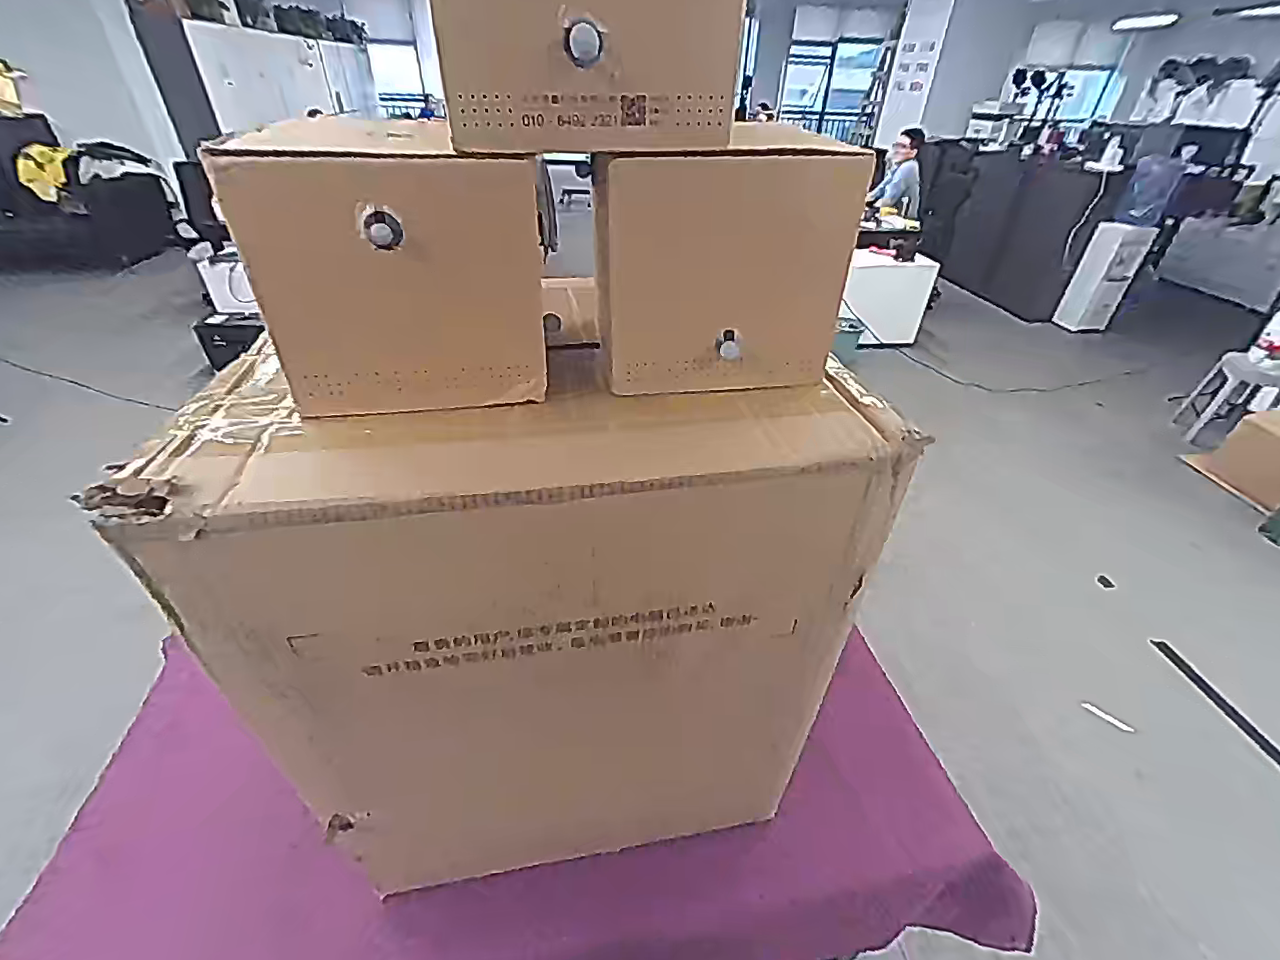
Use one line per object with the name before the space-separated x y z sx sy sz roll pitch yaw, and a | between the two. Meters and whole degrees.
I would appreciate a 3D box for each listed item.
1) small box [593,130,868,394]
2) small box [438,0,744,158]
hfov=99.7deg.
small box | 0.054 -0.185 0.453 0.179 0.176 0.168 -5 37 -7
small box | -0.037 -0.311 0.341 0.168 0.176 0.179 -6 38 -8
